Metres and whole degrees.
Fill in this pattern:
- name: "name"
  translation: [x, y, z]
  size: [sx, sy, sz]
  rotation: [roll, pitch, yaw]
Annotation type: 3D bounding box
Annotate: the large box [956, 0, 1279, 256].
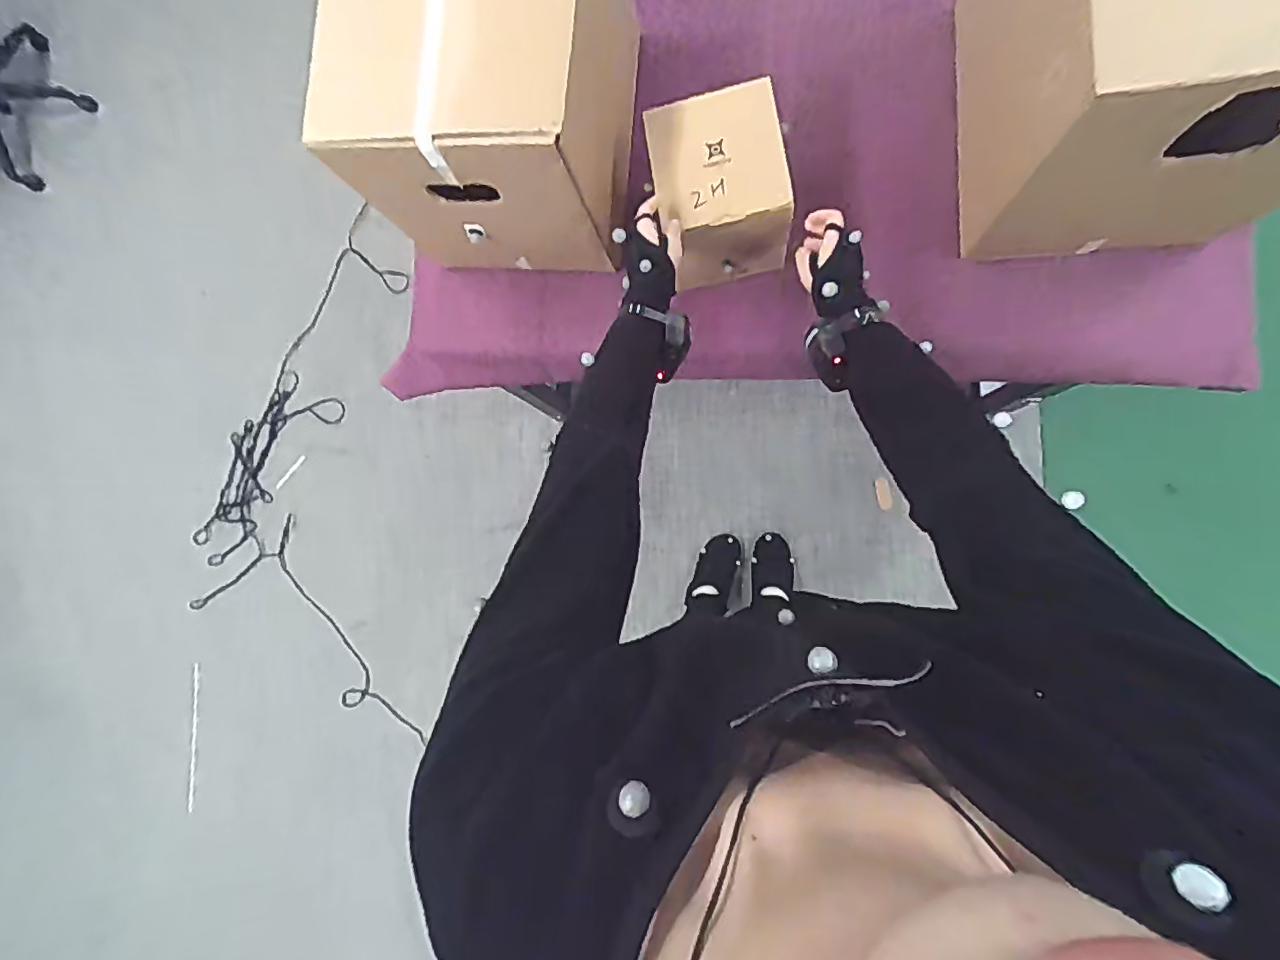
- name: "large box"
  translation: [0.587, -0.525, 0.612]
  size: [0.320, 0.320, 0.408]
  rotation: [0, 86, 12]
